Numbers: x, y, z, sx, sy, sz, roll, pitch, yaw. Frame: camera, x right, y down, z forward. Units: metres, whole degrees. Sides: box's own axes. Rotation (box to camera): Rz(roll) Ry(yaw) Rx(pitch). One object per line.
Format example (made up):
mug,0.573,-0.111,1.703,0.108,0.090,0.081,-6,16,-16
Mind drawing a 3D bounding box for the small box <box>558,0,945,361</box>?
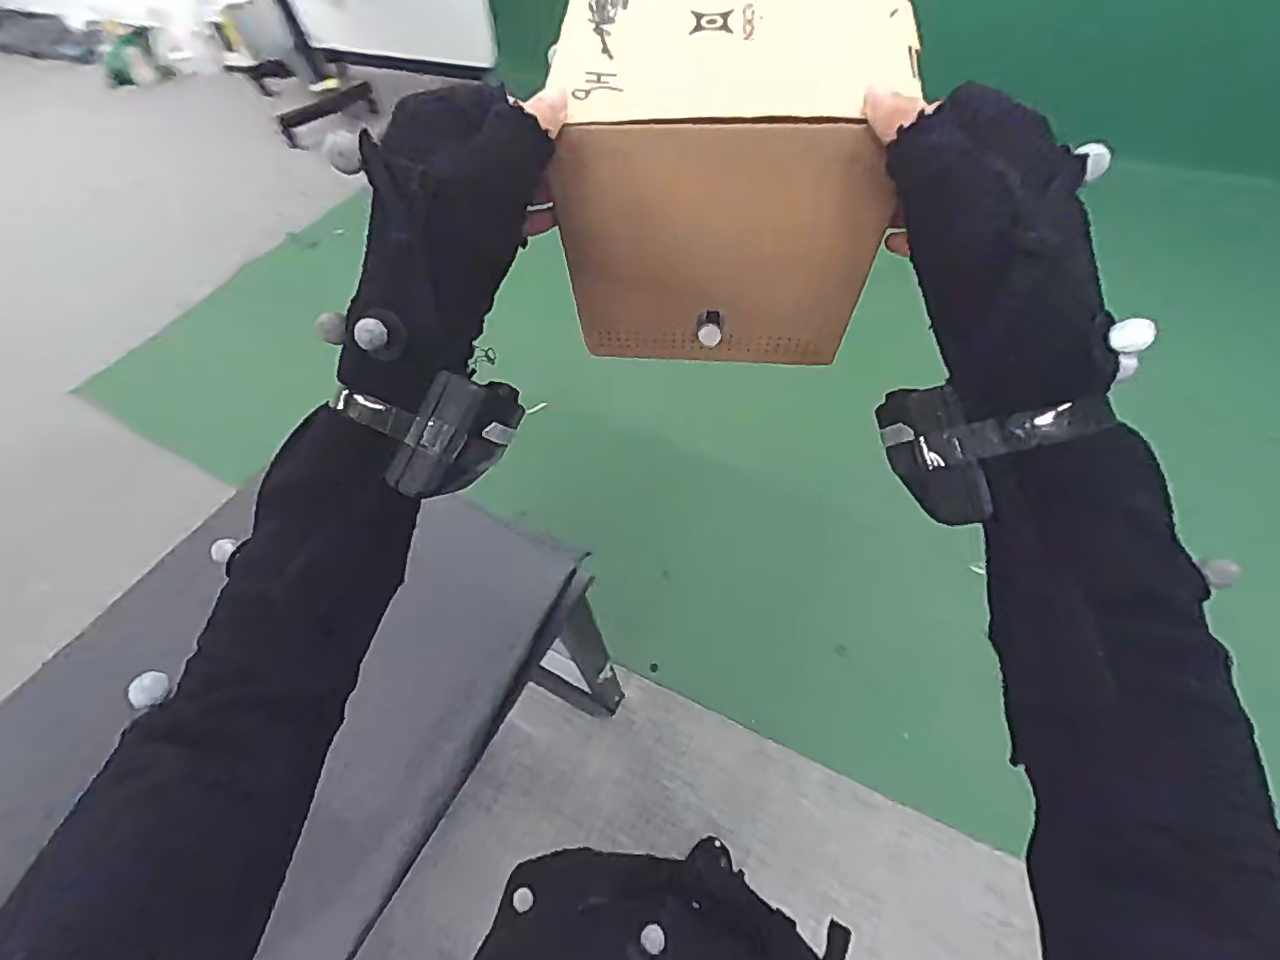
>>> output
small box,0.060,-0.194,0.348,0.179,0.176,0.168,4,63,5
